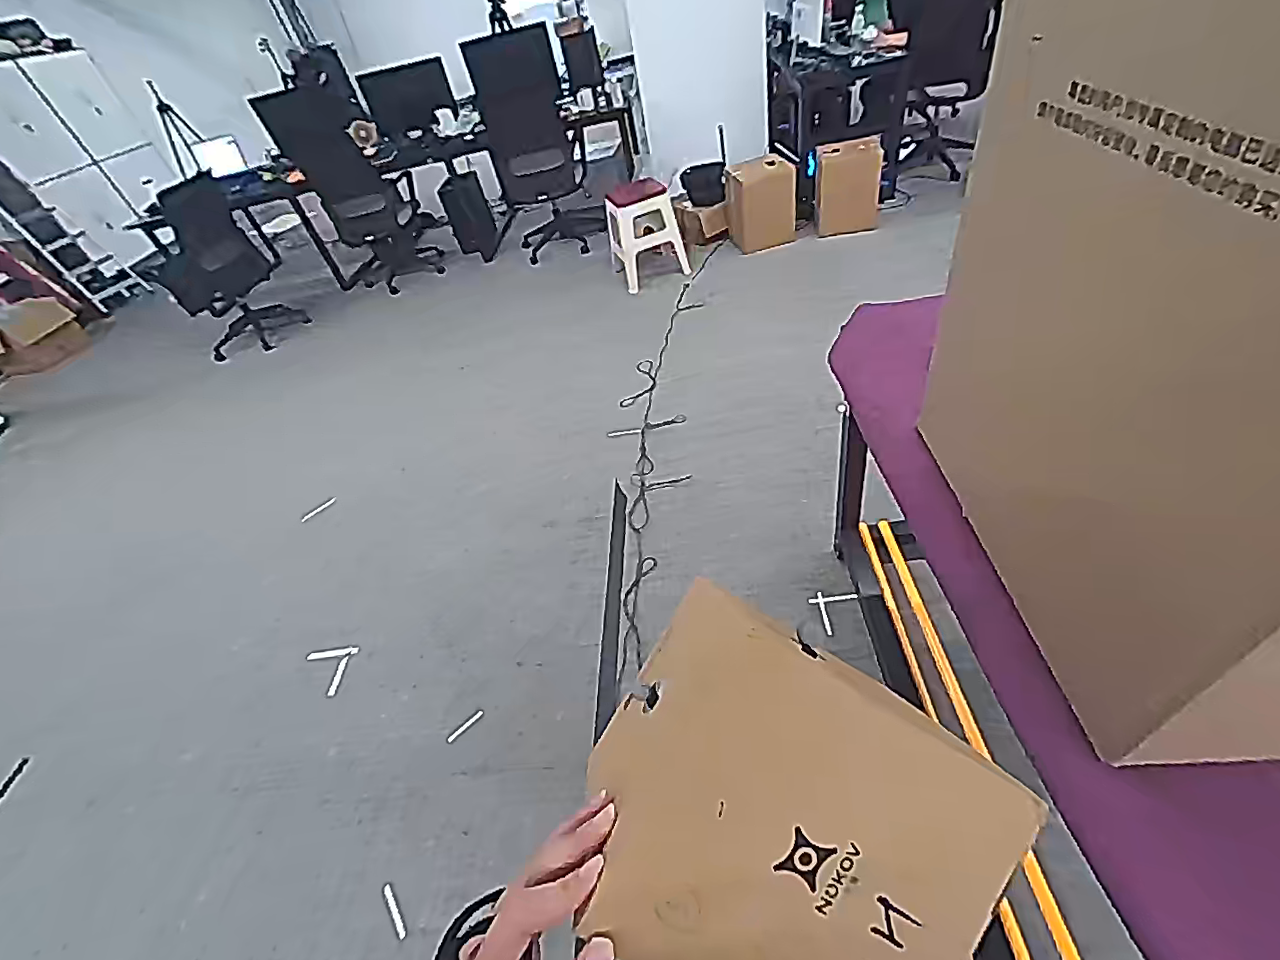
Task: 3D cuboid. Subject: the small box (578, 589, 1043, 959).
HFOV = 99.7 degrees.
[{"bbox_3d":[0.080,0.184,0.339,0.179,0.176,0.168,31,87,-2],"label":"small box"}]
